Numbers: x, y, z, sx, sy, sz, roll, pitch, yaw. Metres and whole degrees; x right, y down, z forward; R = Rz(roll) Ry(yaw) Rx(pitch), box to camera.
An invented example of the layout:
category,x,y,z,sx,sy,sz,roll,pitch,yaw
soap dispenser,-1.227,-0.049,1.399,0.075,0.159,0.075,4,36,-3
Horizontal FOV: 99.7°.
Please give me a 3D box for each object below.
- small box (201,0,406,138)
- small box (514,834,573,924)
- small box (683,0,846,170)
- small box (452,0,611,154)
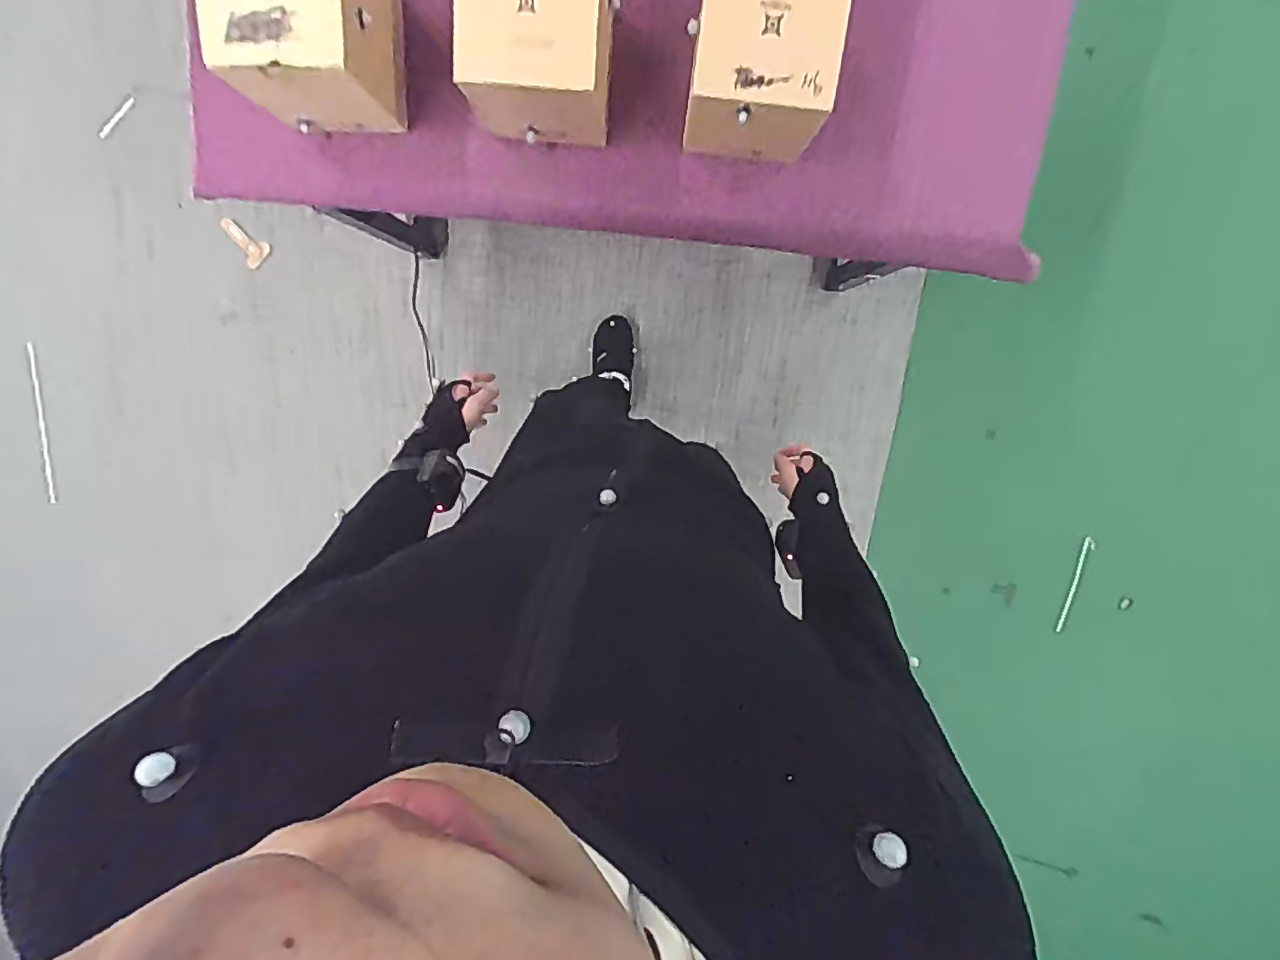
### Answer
category,x,y,z,sx,sy,sz,roll,pitch,yaw
small box,-0.416,-0.566,0.692,0.168,0.176,0.179,2,100,1
small box,-0.325,1.360,1.847,0.168,0.176,0.179,5,101,0
small box,0.147,-0.528,0.687,0.168,0.176,0.179,7,101,1
small box,-0.129,-0.550,0.692,0.168,0.176,0.179,5,103,1
